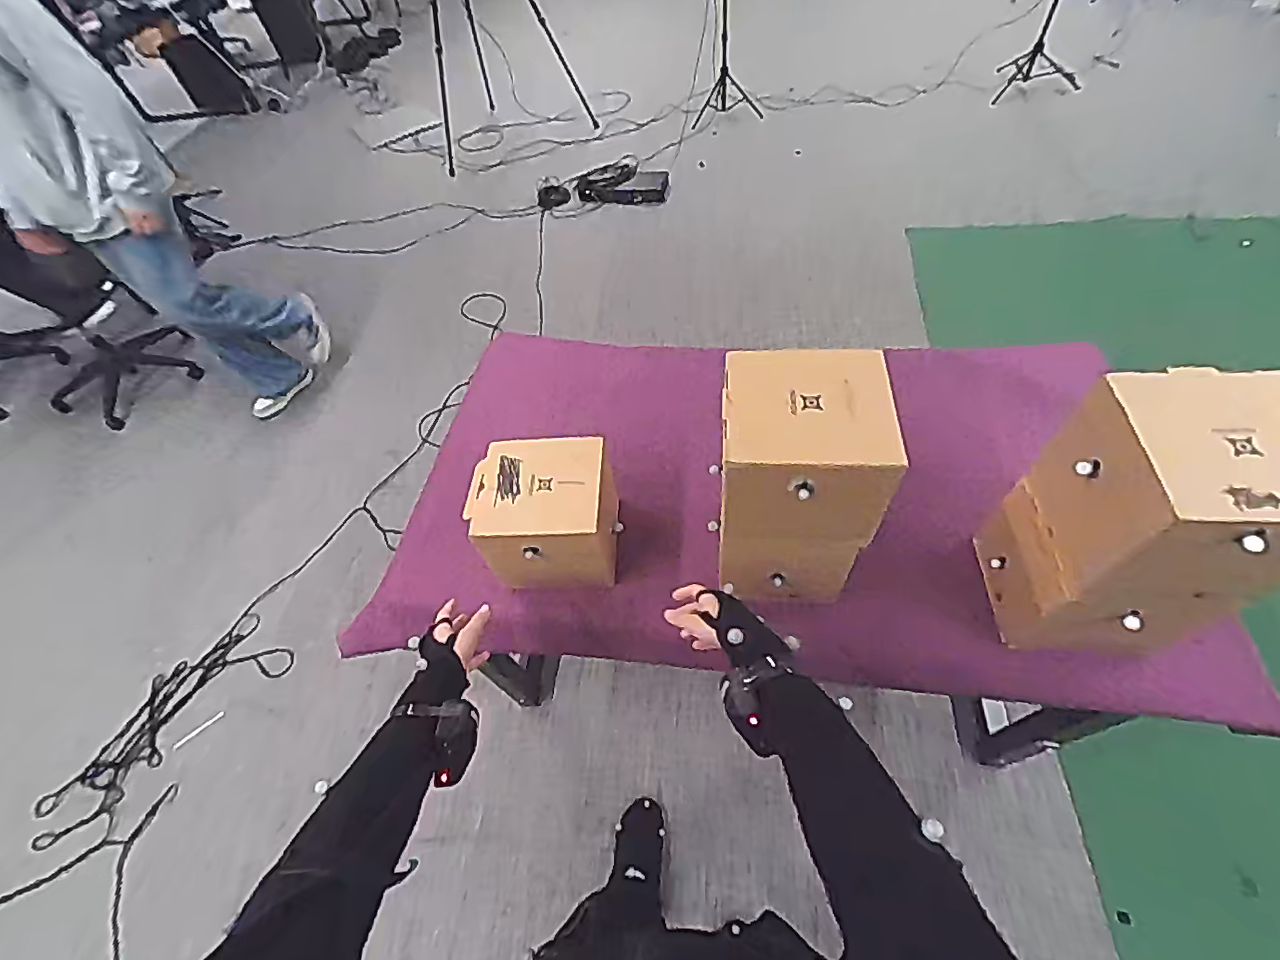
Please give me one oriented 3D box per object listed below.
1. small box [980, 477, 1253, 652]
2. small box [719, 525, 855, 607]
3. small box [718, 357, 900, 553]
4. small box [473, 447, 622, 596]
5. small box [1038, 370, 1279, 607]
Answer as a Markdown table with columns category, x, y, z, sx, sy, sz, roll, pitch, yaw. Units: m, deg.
| category | x | y | z | sx | sy | sz | roll | pitch | yaw |
| --- | --- | --- | --- | --- | --- | --- | --- | --- | --- |
| small box | 0.568 | 0.109 | 0.680 | 0.179 | 0.176 | 0.168 | -1 | 55 | 10 |
| small box | 0.201 | 0.067 | 0.771 | 0.168 | 0.176 | 0.179 | 1 | 53 | 10 |
| small box | 0.184 | -0.025 | 0.638 | 0.179 | 0.176 | 0.168 | 1 | 54 | 10 |
| small box | -0.128 | 0.069 | 0.826 | 0.179 | 0.176 | 0.168 | -3 | 54 | 5 |
| small box | 0.548 | 0.011 | 0.550 | 0.168 | 0.176 | 0.179 | -1 | 54 | 11 |
